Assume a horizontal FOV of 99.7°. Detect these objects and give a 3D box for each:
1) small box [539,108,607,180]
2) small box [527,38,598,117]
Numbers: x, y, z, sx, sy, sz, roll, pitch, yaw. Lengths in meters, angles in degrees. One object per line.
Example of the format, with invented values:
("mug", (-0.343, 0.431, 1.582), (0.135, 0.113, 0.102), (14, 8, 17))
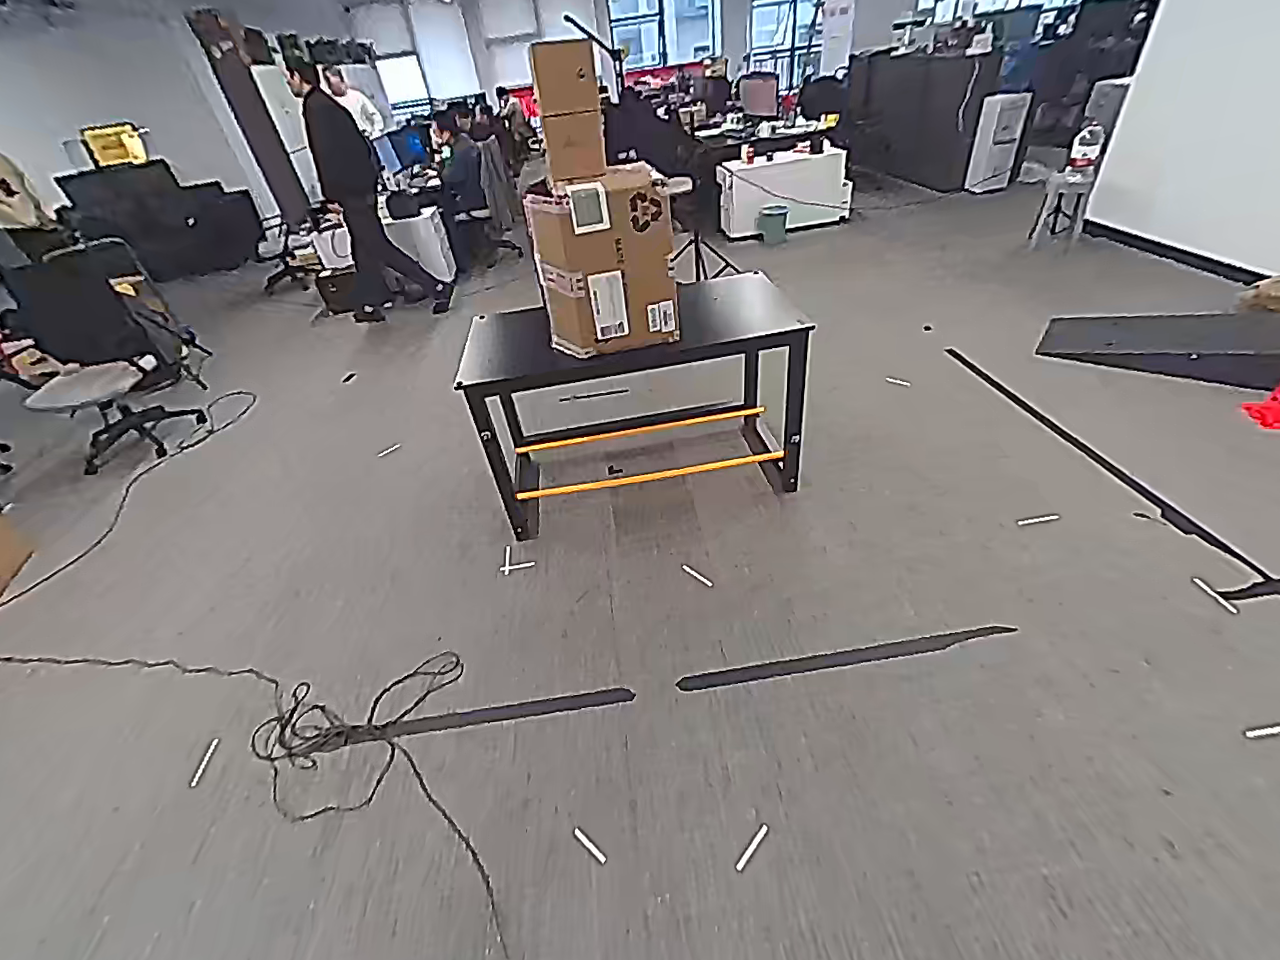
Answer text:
("small box", (-0.208, -1.044, 1.683), (0.179, 0.176, 0.168), (-12, 36, -5))
("small box", (-0.223, -1.173, 1.583), (0.179, 0.176, 0.168), (-13, 35, -7))
